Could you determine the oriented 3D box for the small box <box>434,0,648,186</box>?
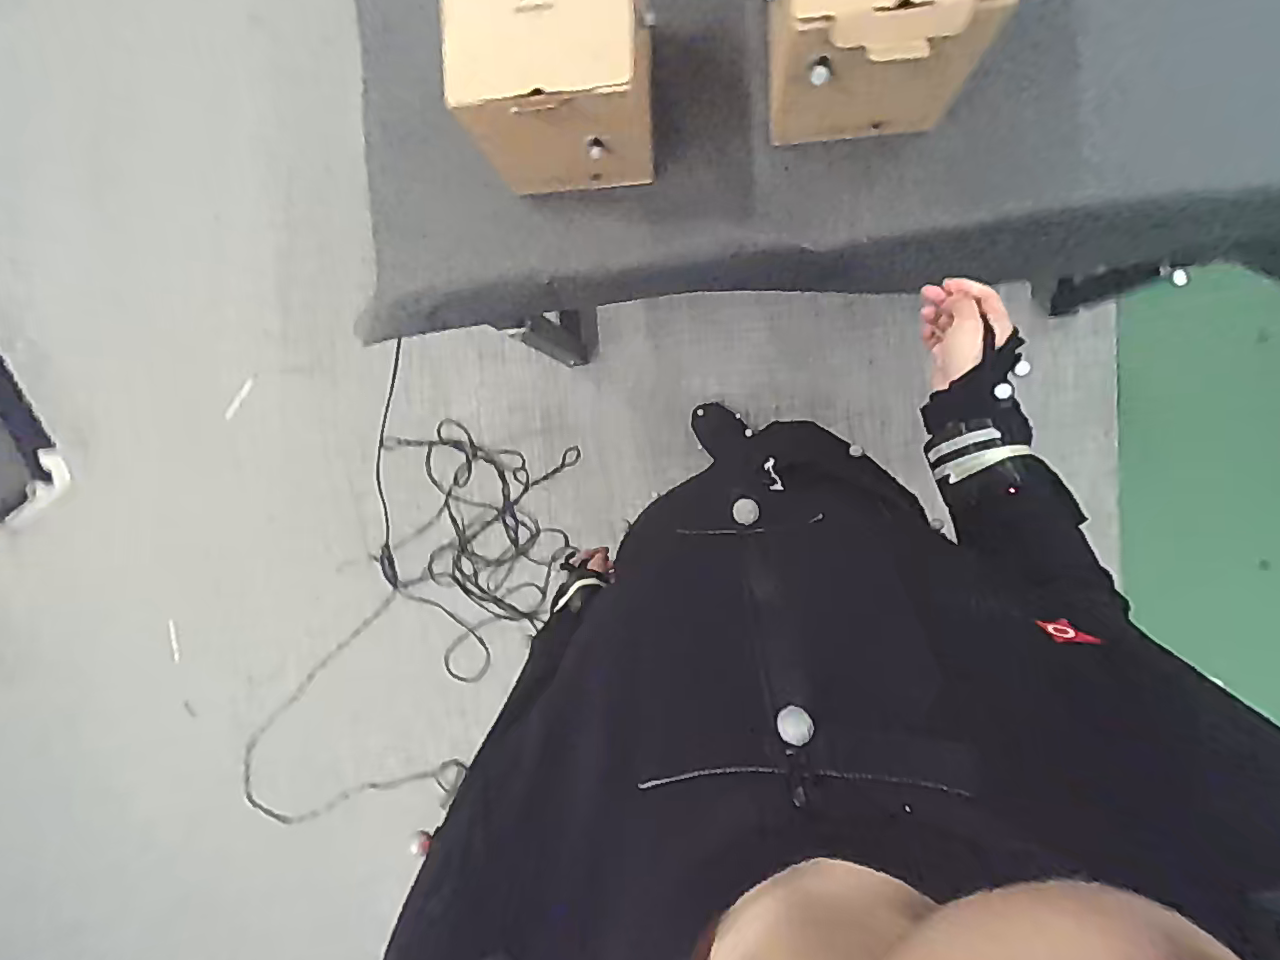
[{"bbox_3d":[-0.083,-0.410,0.526,0.168,0.176,0.179,-2,92,7],"label":"small box"}]
